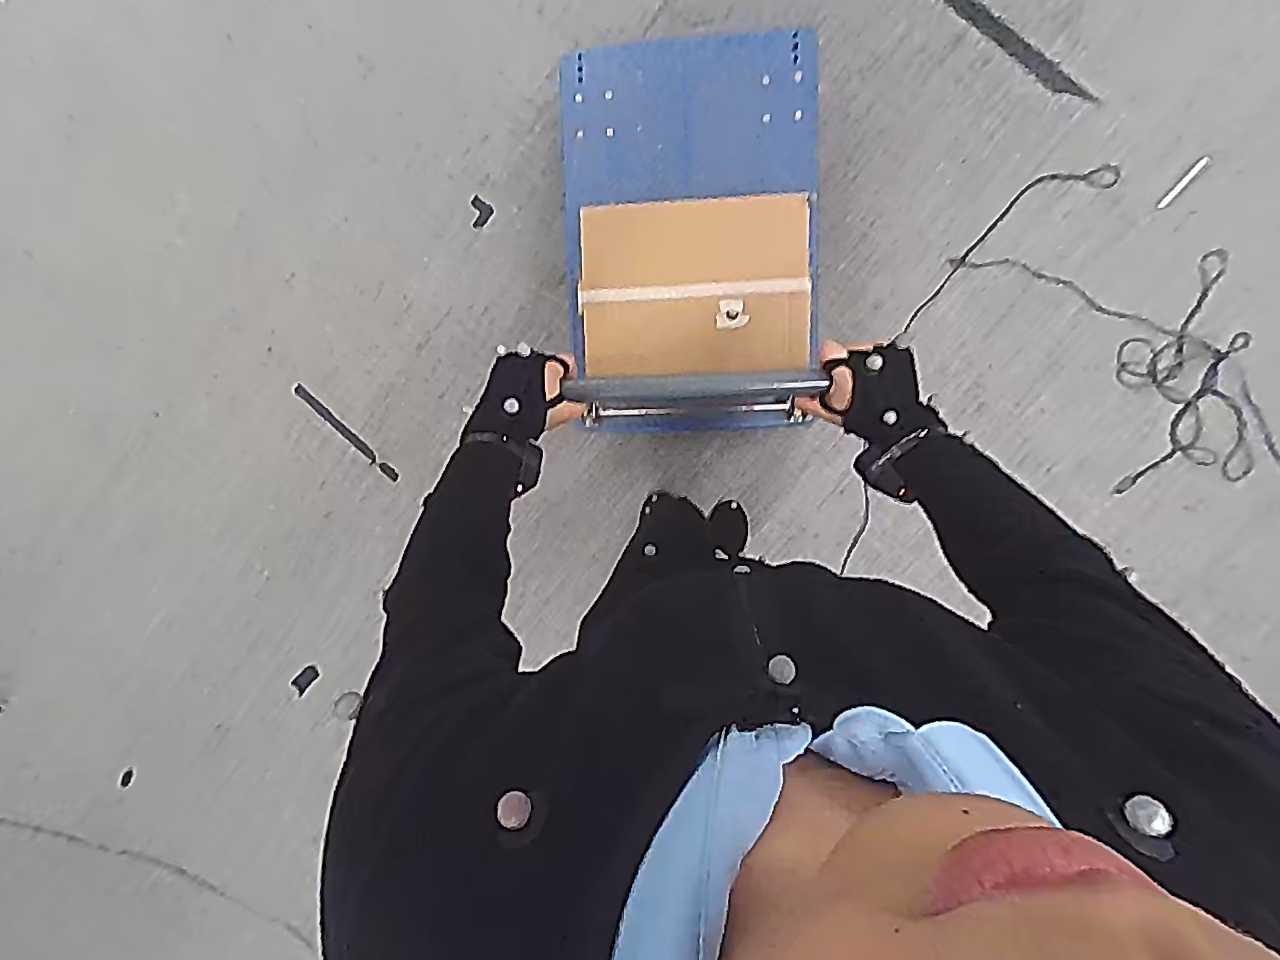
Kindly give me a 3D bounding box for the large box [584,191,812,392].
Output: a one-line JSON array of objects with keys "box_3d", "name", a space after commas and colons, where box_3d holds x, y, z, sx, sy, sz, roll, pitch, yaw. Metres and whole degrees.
[{"box_3d": [0.112, -0.358, 1.117, 0.408, 0.320, 0.320, -2, 96, 4], "name": "large box"}]
